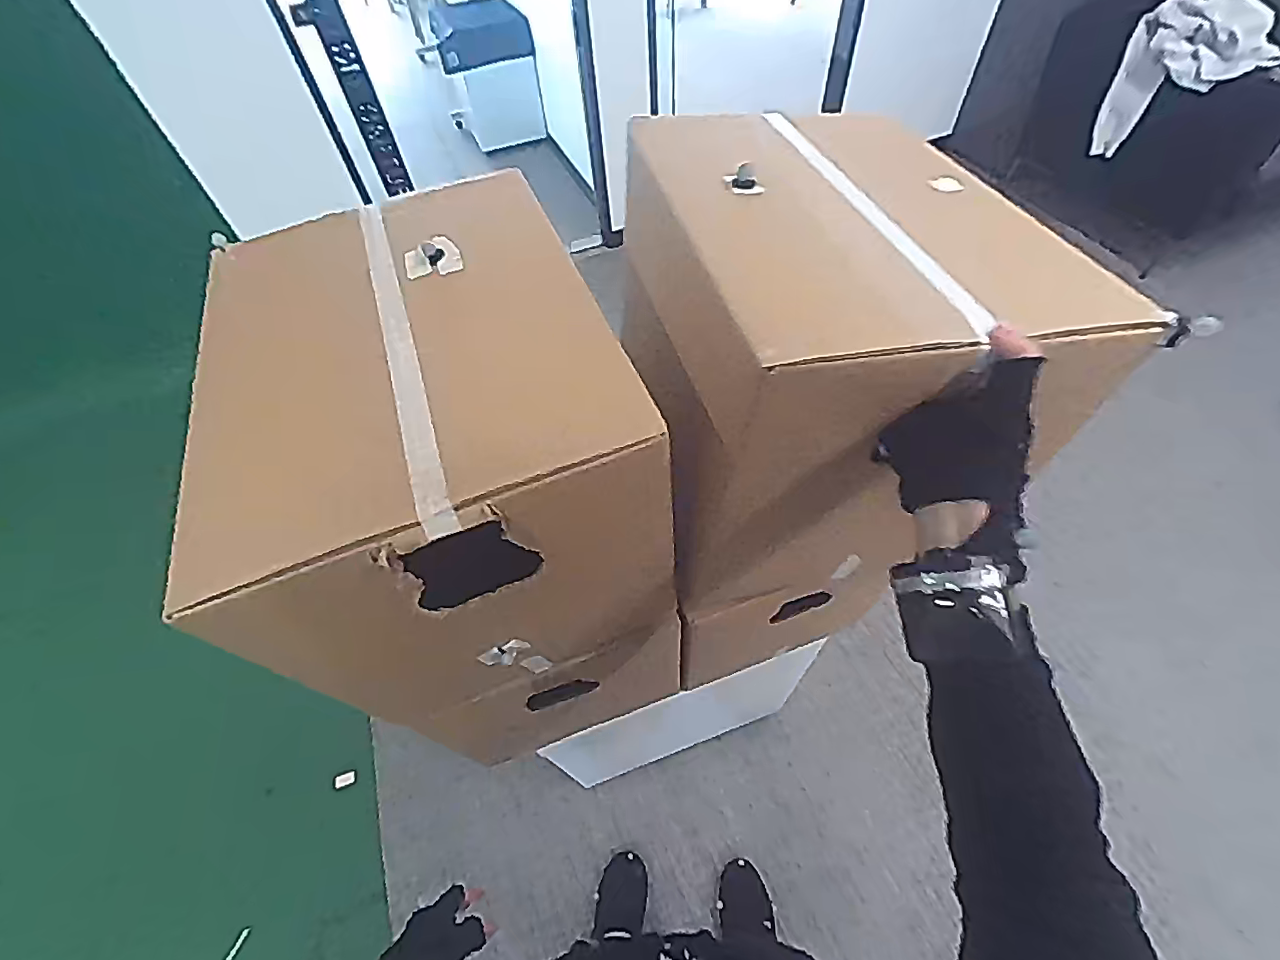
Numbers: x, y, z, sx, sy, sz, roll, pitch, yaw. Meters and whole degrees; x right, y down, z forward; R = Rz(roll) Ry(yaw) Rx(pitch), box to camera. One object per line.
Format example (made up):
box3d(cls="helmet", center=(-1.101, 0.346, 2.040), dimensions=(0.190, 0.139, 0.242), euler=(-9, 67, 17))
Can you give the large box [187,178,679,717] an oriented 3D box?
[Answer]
box3d(cls="large box", center=(-0.182, -0.038, 0.565), dimensions=(0.320, 0.320, 0.408), euler=(-20, 55, -9))
